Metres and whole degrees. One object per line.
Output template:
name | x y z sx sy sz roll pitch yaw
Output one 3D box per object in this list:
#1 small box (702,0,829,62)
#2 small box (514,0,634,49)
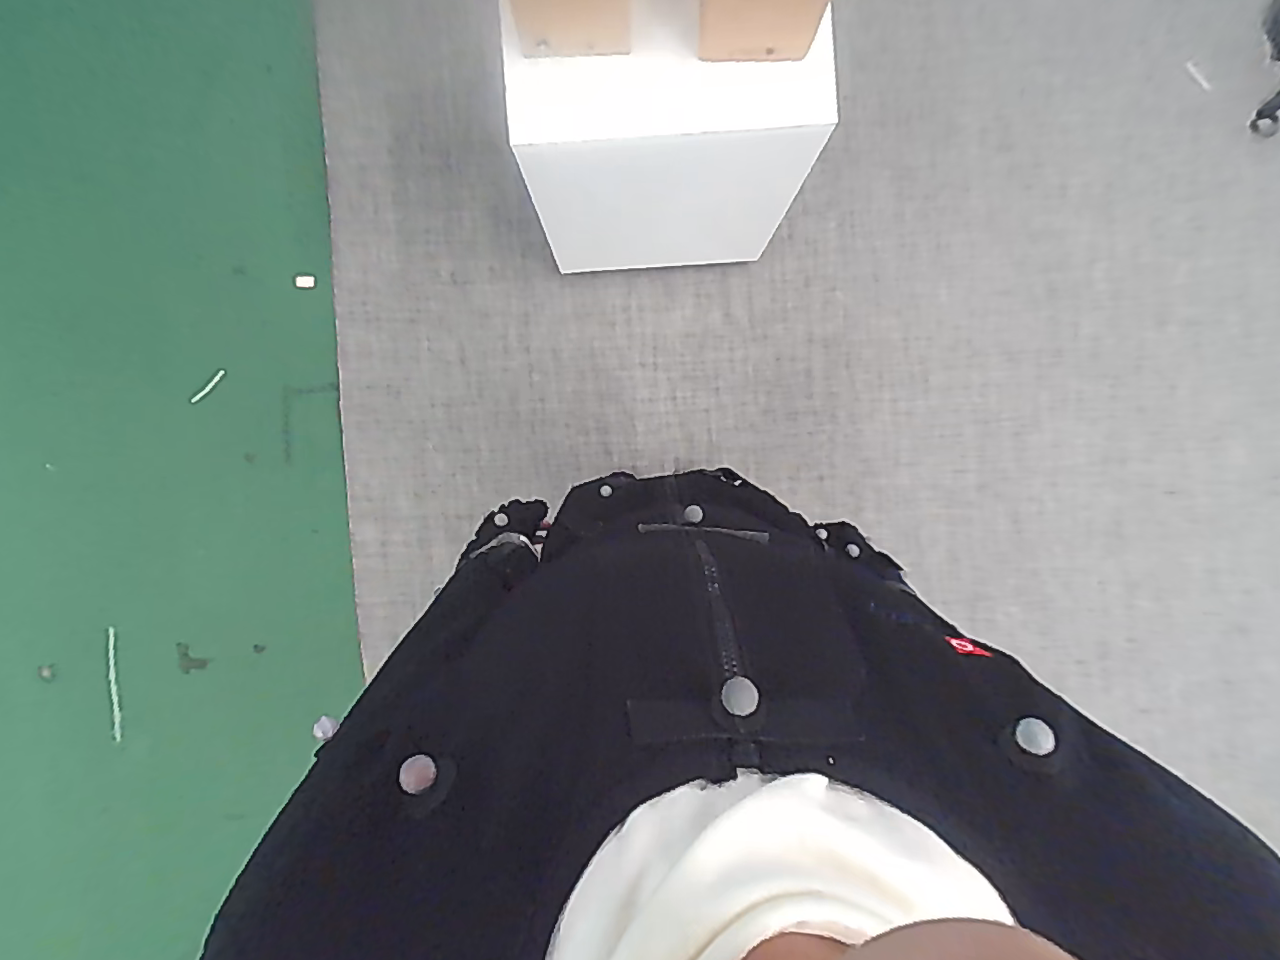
small box | 0.175 -0.729 0.747 0.168 0.176 0.179 0 91 1
small box | -0.094 -0.738 0.747 0.168 0.176 0.179 -3 91 -1
